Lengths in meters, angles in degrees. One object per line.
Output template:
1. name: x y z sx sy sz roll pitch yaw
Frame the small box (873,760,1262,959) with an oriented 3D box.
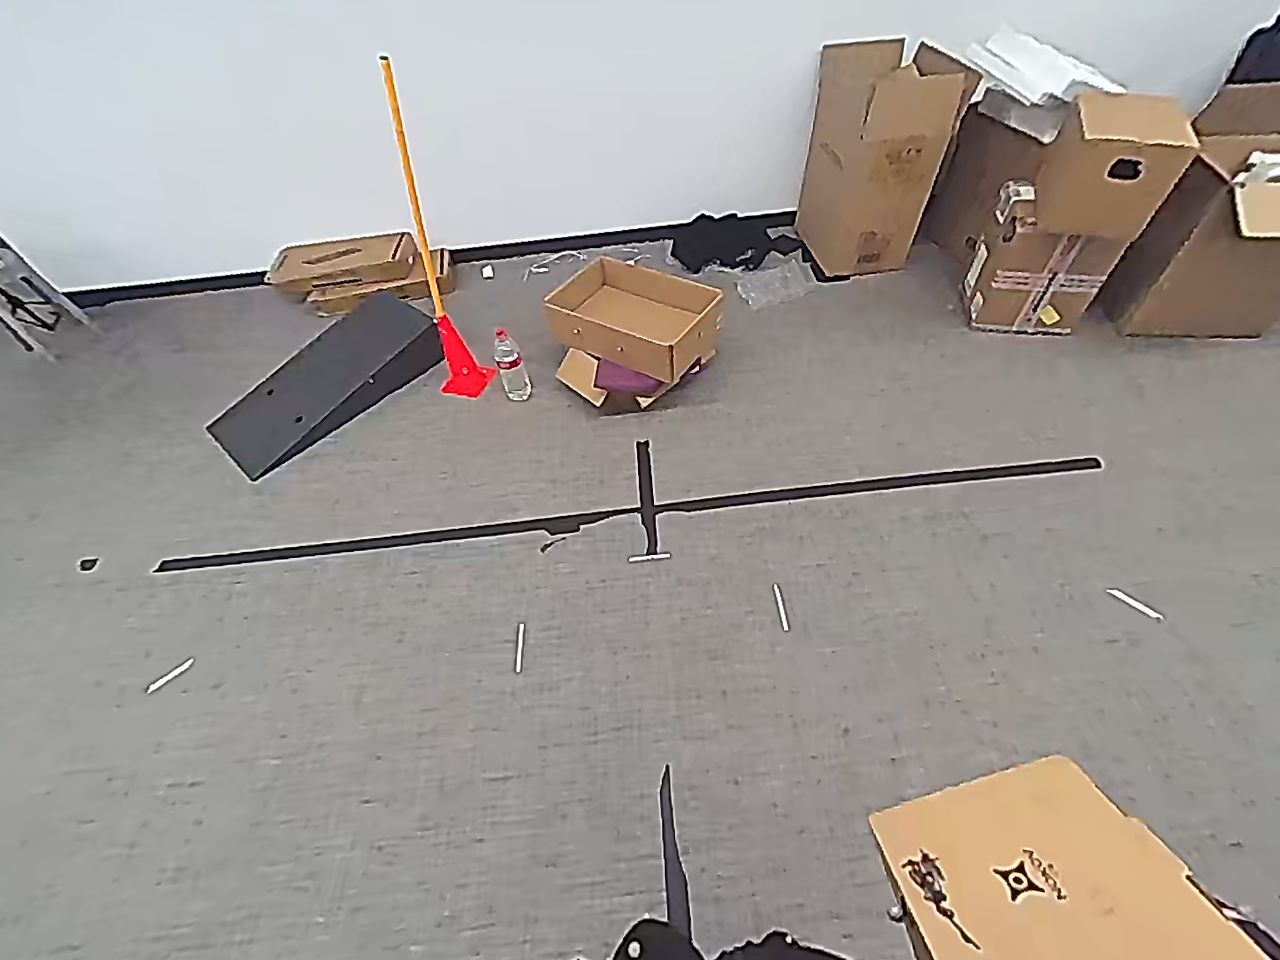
1. small box: 0.312 0.362 0.413 0.179 0.176 0.168 -20 14 6
